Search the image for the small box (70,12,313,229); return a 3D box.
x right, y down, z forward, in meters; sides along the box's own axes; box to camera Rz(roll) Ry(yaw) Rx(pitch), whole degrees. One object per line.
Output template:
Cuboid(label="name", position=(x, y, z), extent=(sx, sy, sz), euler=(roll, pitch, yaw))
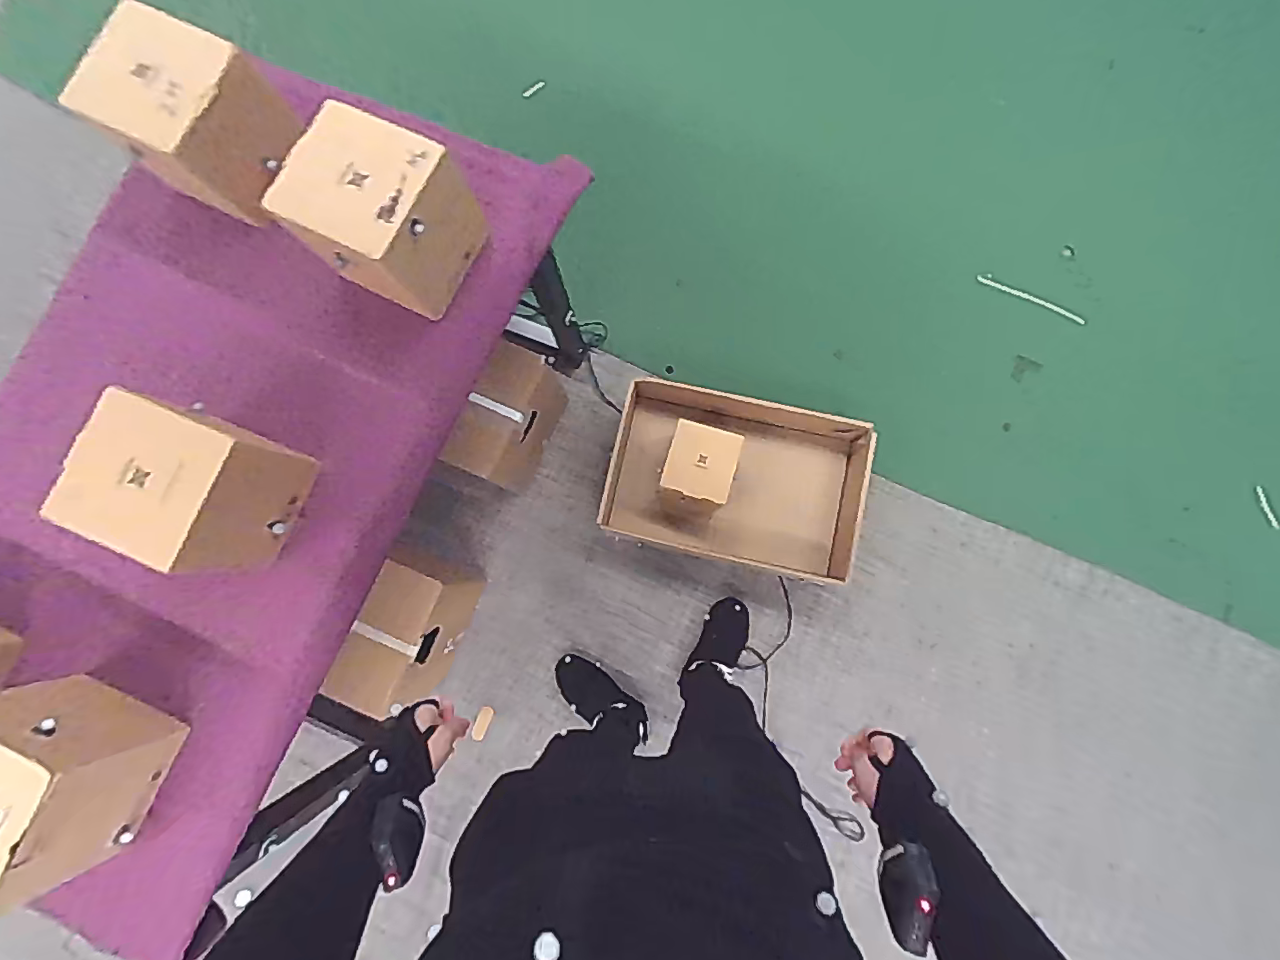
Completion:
Cuboid(label="small box", position=(-0.617, -0.496, 0.773), extent=(0.179, 0.176, 0.168), euler=(26, 85, 4))

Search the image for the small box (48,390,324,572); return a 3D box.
Cuboid(label="small box", position=(-0.560, 0.011, 0.694), extent=(0.179, 0.176, 0.168), euler=(22, 83, 5))

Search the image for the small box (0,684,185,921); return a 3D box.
Cuboid(label="small box", position=(-0.708, 0.361, 0.640), extent=(0.179, 0.176, 0.168), euler=(22, 82, 6))

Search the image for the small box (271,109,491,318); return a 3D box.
Cuboid(label="small box", position=(-0.339, -0.351, 0.742), extent=(0.179, 0.176, 0.168), euler=(26, 84, 8))

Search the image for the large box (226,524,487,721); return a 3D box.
Cuboid(label="large box", position=(-0.653, 0.324, 1.316), extent=(0.408, 0.320, 0.320), euler=(21, 81, 6))
